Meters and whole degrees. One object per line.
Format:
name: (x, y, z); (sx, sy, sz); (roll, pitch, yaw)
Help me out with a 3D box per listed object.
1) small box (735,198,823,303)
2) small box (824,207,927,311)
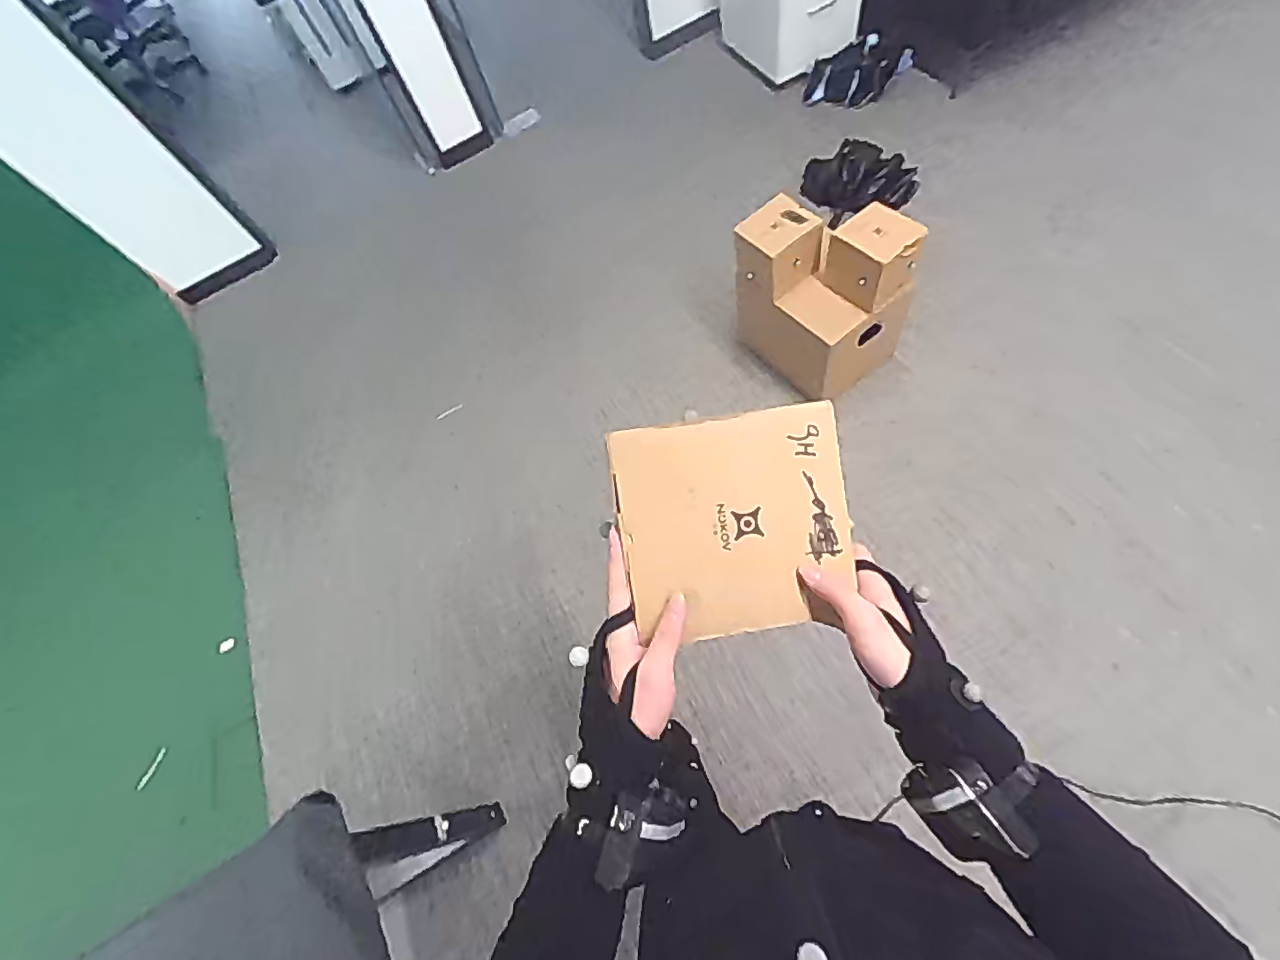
small box: (0.389, -0.642, 1.525); (0.179, 0.176, 0.168); (-37, 62, -3)
small box: (0.618, -0.581, 1.443); (0.168, 0.176, 0.179); (-38, 61, -11)
